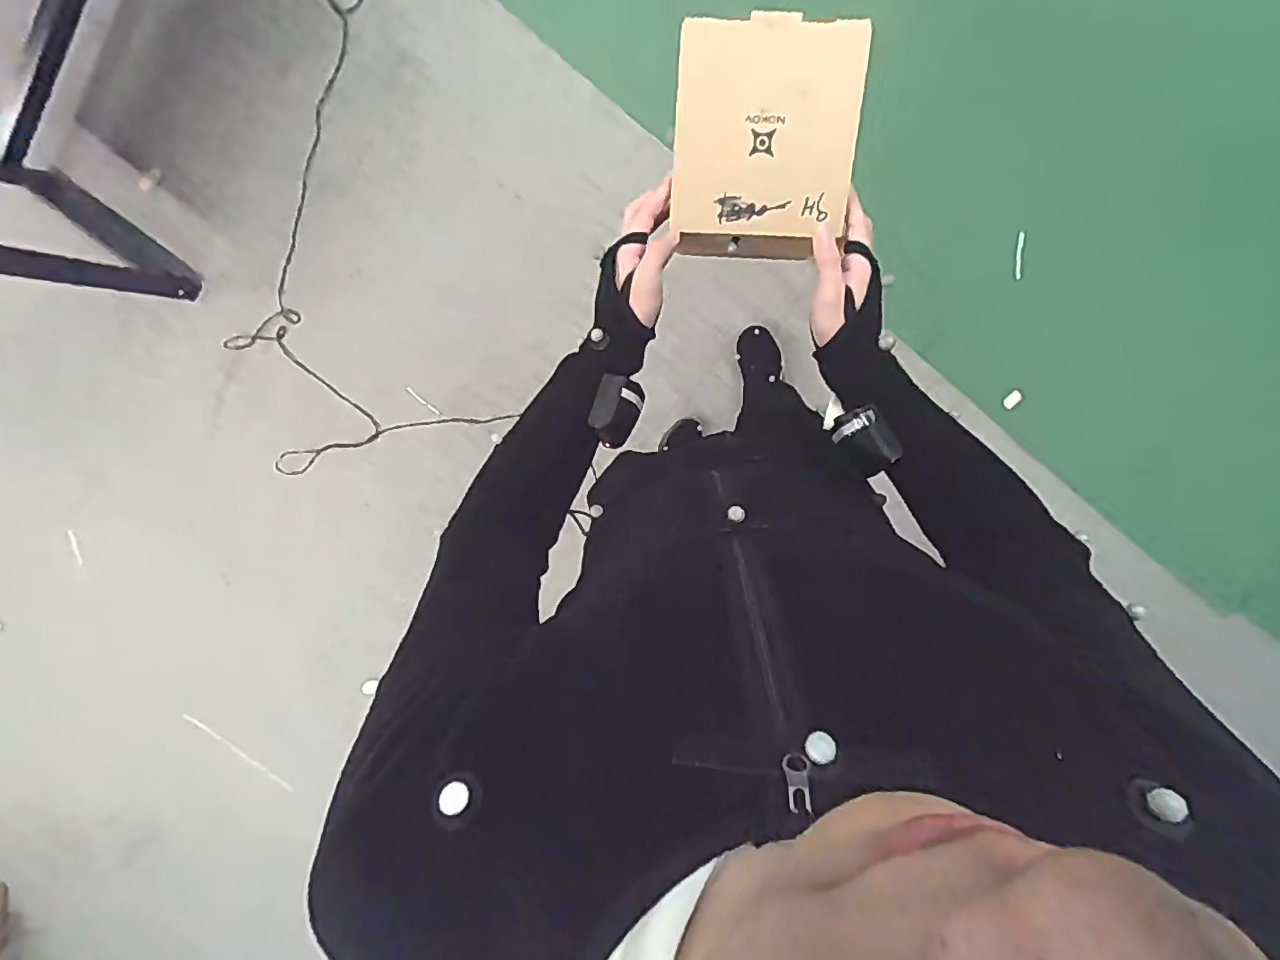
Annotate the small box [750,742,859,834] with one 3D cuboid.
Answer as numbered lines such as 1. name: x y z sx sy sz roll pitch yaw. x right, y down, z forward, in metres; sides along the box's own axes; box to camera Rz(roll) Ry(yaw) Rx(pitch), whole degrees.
1. small box: 0.374 0.748 1.239 0.168 0.176 0.179 -39 96 11

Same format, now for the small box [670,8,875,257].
1. small box: 0.121 -0.339 0.560 0.168 0.176 0.179 4 107 5
